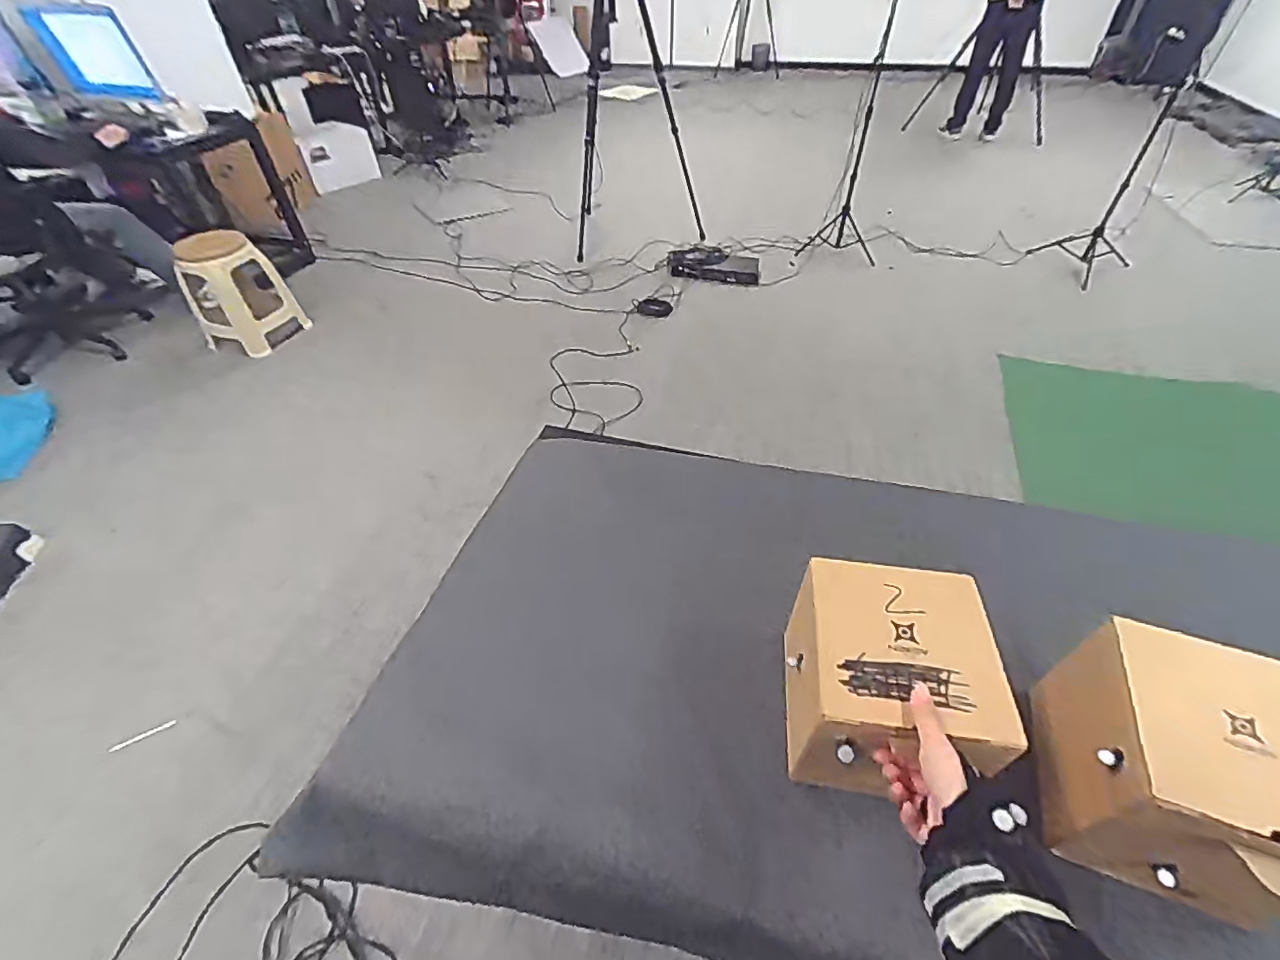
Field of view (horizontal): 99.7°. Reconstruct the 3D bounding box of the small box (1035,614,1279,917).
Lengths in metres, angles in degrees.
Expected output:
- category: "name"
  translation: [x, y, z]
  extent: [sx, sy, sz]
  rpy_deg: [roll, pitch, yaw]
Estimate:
- category: "small box"
  translation: [0.503, 0.263, 0.505]
  extent: [0.168, 0.176, 0.179]
  rpy_deg: [15, 48, 16]
